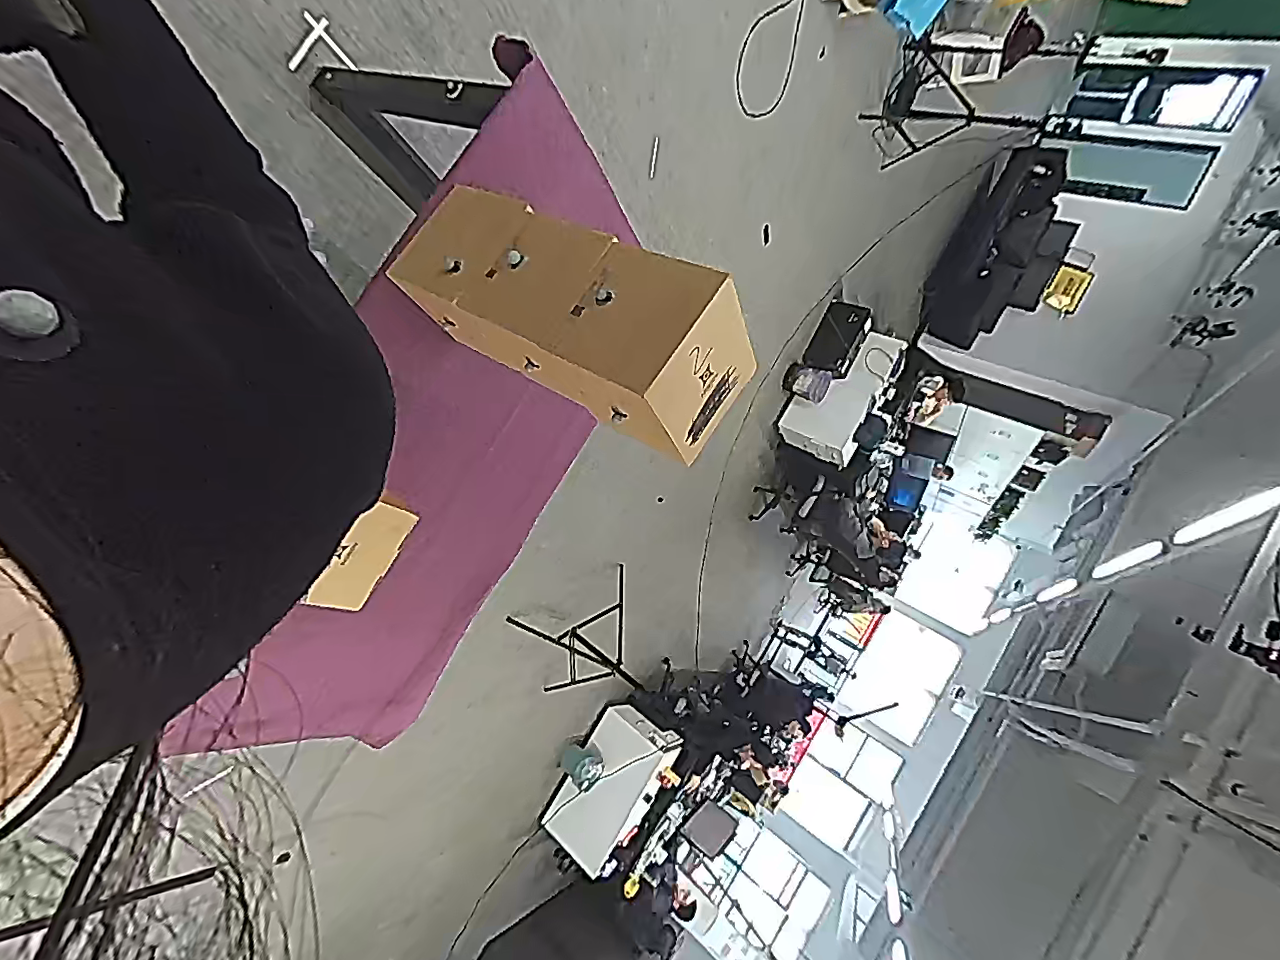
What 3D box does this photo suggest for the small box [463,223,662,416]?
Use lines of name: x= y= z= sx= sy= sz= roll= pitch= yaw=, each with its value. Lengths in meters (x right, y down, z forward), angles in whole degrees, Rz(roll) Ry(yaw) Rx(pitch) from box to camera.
small box: x=-0.102 y=-0.223 z=0.749 sx=0.168 sy=0.176 sz=0.179 roll=-57 pitch=150 yaw=-8

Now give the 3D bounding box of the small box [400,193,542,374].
small box: x=-0.229 y=-0.298 z=0.821 sx=0.179 sy=0.176 sz=0.168 roll=-57 pitch=151 yaw=-8

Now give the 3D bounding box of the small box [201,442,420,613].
small box: x=-0.464 y=0.067 z=0.771 sx=0.168 sy=0.176 sz=0.179 roll=-59 pitch=150 yaw=-6
